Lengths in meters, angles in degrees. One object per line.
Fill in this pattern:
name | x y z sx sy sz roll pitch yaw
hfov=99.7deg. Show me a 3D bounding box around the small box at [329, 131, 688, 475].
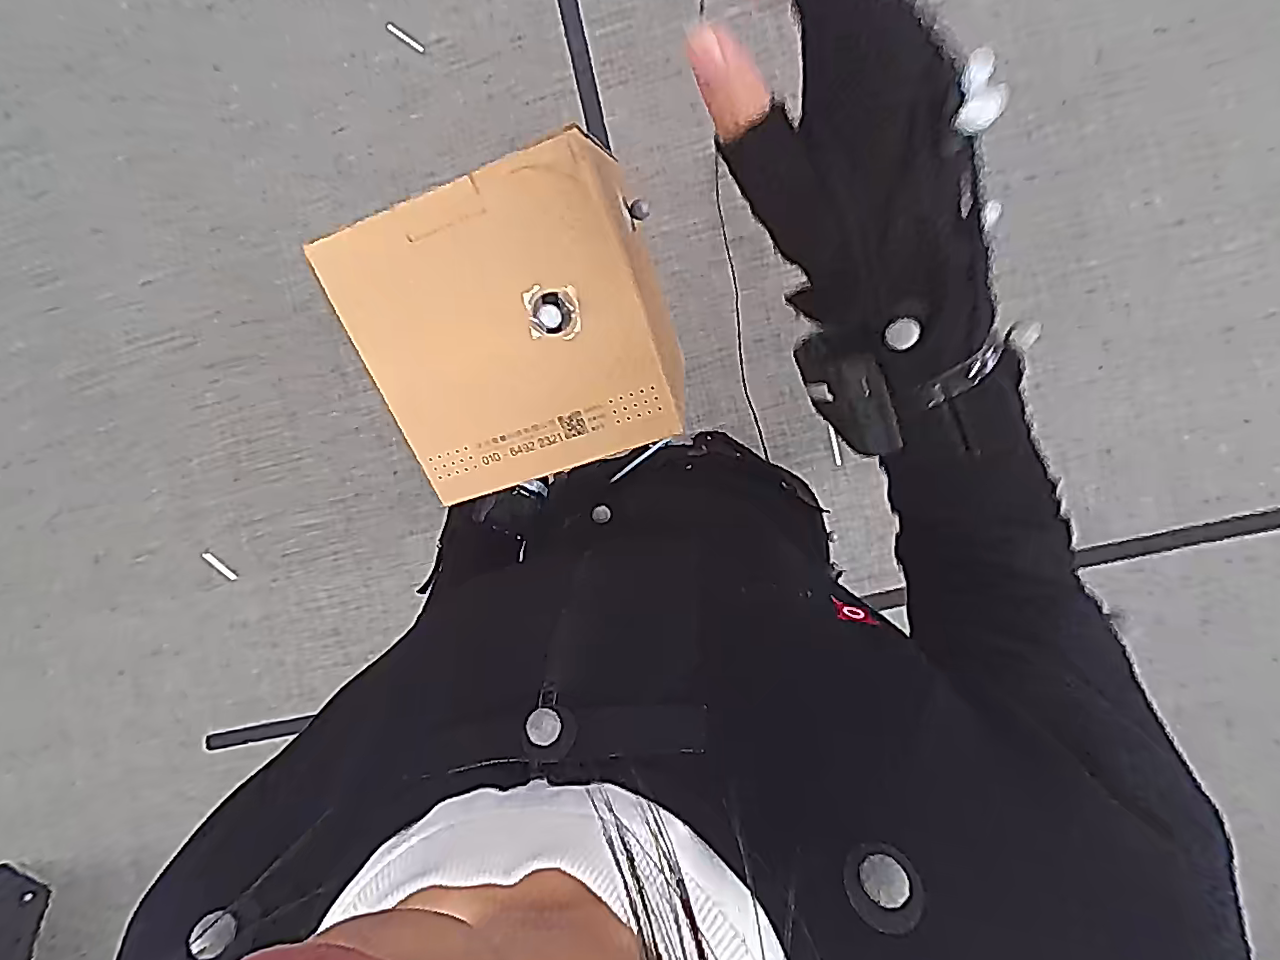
small box | -0.067 -0.117 0.394 0.168 0.179 0.176 -15 112 13
